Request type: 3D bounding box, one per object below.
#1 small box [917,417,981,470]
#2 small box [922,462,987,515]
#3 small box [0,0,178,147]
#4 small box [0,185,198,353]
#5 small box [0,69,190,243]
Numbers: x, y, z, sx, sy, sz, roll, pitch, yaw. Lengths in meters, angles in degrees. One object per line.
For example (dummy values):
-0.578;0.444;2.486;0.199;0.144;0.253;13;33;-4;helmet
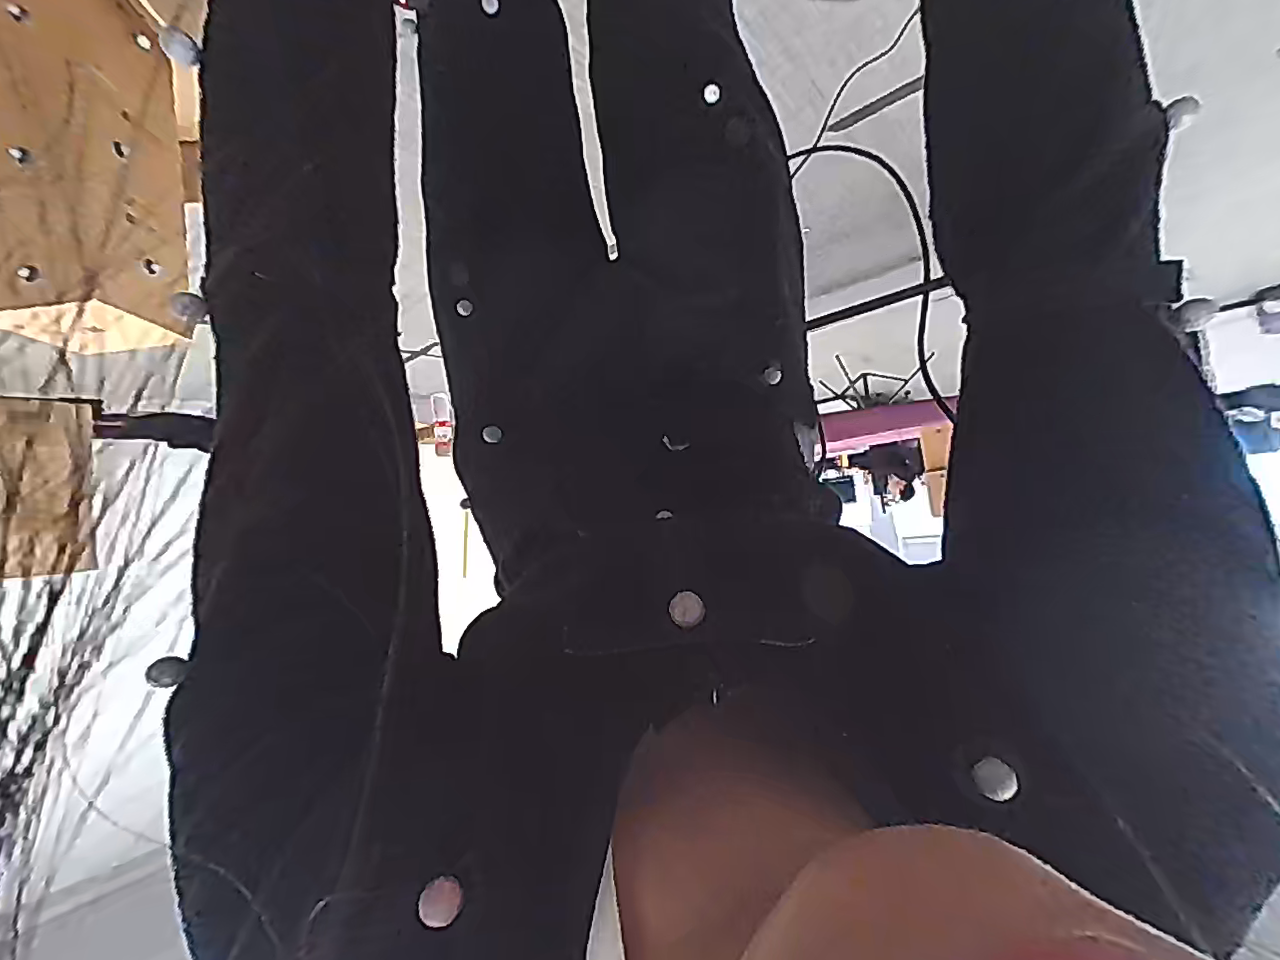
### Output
1.136;-0.135;1.990;0.168;0.176;0.179;-10;177;40;small box
1.141;0.028;1.963;0.168;0.176;0.179;-10;176;41;small box
-0.837;-0.624;0.798;0.179;0.176;0.168;-8;177;-7;small box
-0.796;-0.299;0.781;0.179;0.176;0.168;-8;175;-3;small box
-0.819;-0.463;0.795;0.179;0.176;0.168;-6;176;-3;small box
